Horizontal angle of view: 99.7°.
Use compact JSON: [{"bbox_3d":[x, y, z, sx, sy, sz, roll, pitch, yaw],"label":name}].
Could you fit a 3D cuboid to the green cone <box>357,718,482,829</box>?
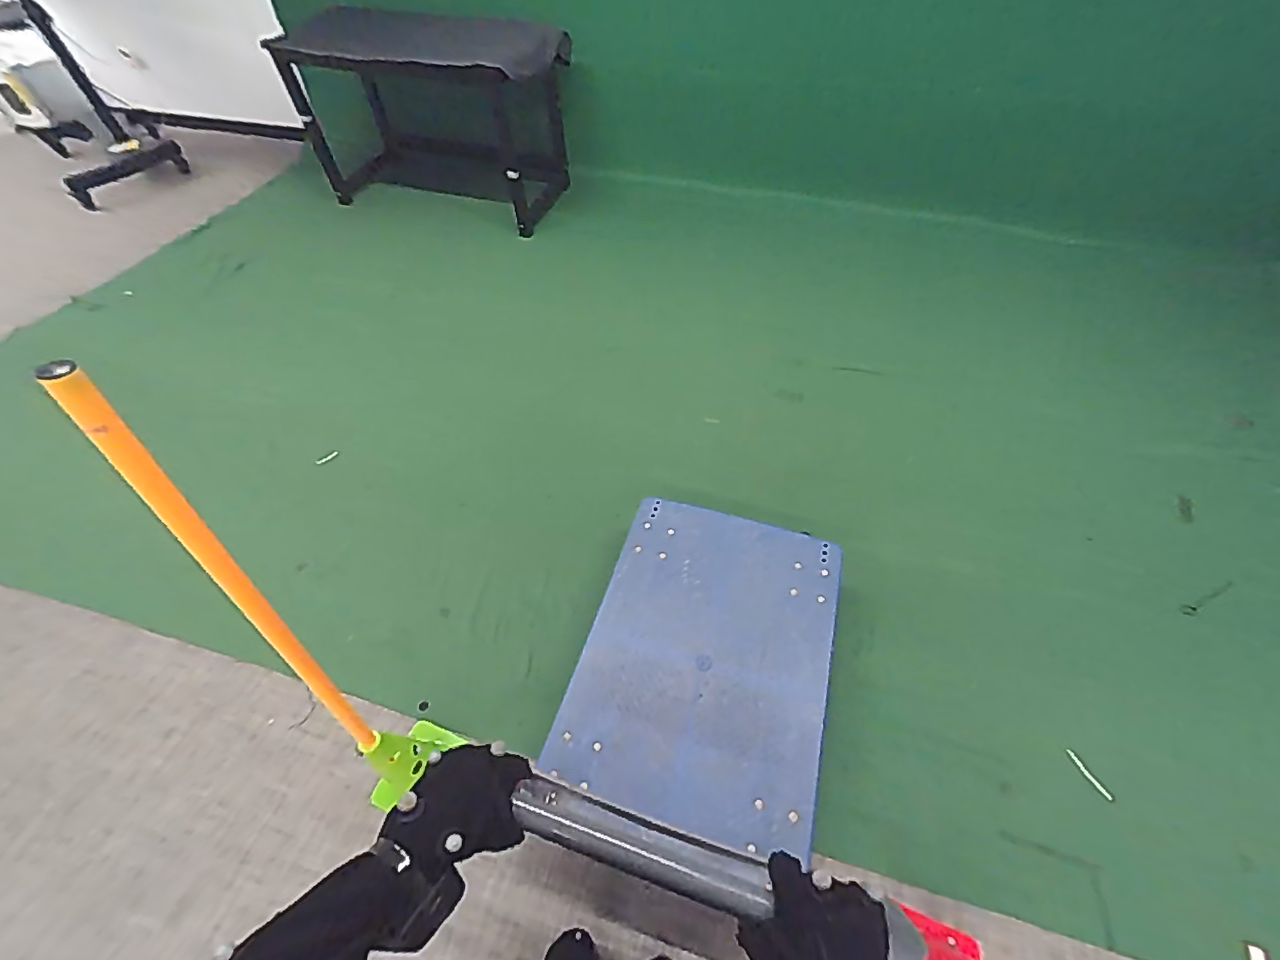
[{"bbox_3d":[-0.513,0.597,1.175,0.202,0.368,0.200,16,53,14],"label":"green cone"}]
